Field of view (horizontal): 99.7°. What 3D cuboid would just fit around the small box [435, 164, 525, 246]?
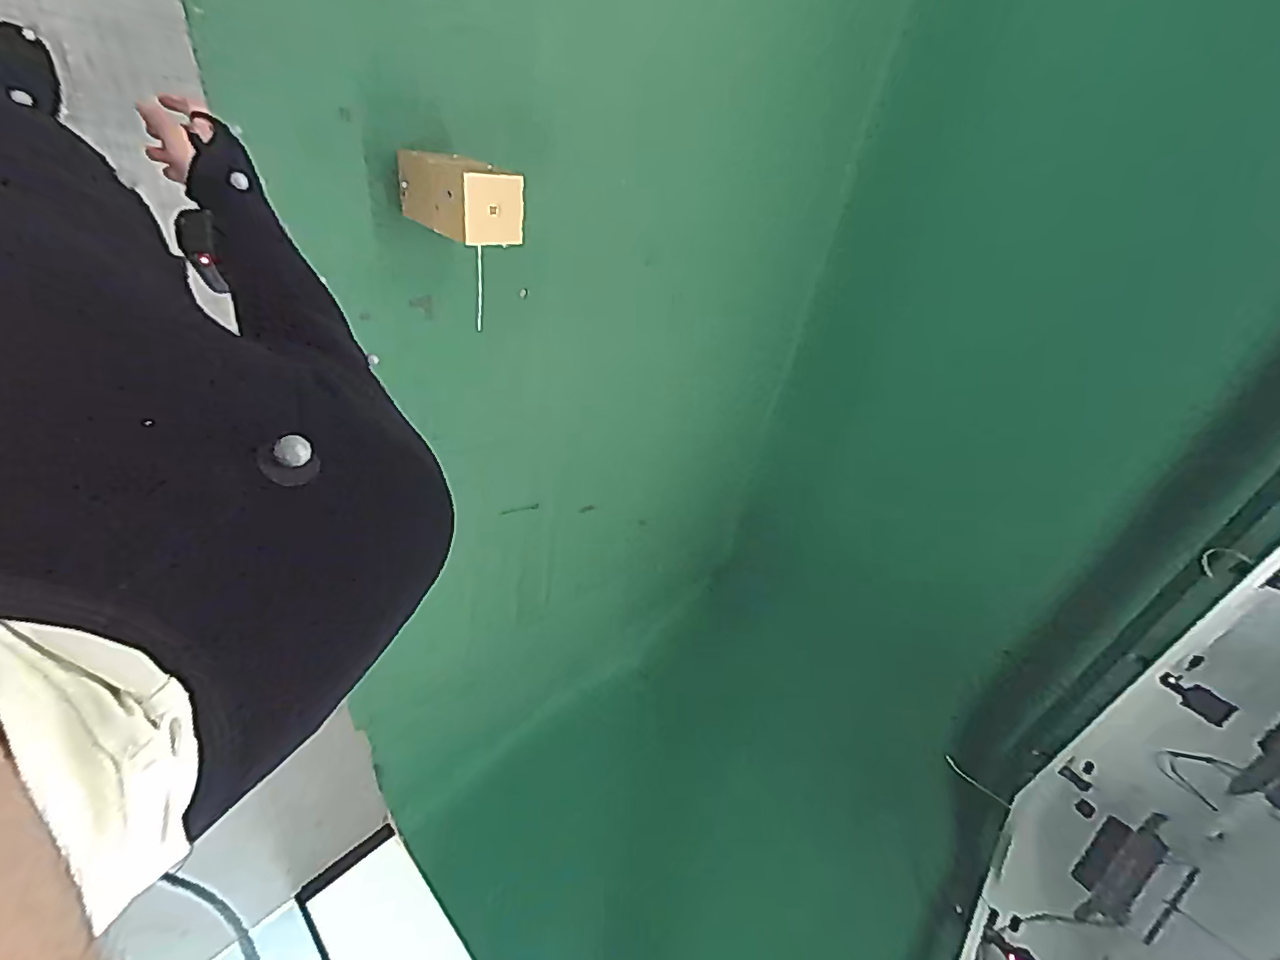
[{"bbox_3d":[-0.423,-0.721,1.418,0.179,0.176,0.168,-26,137,-41],"label":"small box"}]

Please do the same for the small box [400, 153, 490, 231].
[{"bbox_3d":[-0.537,-0.799,1.500,0.179,0.176,0.168,-24,136,-40],"label":"small box"}]
